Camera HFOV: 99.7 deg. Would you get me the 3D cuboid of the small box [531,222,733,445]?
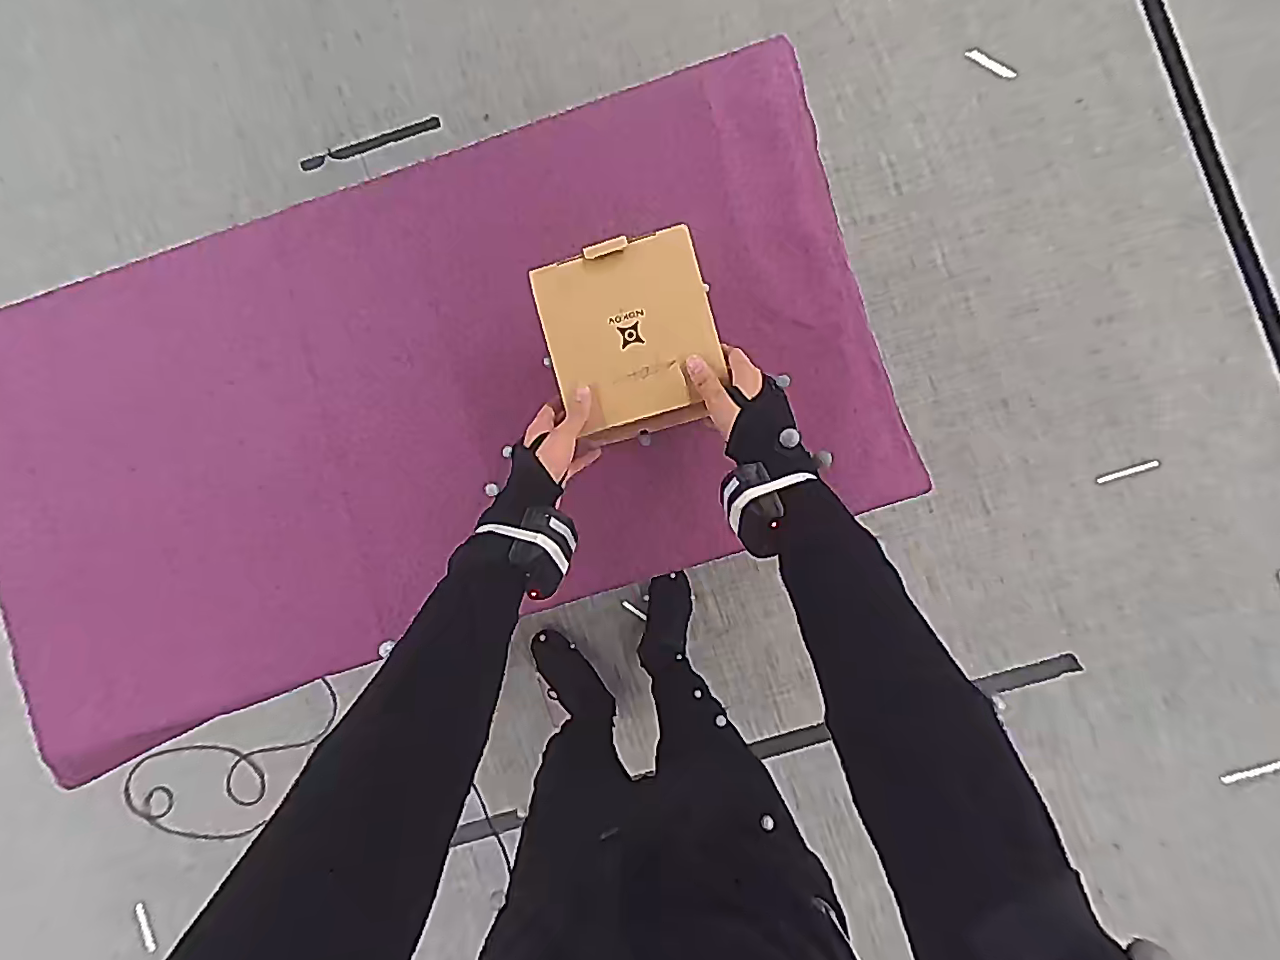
[{"bbox_3d":[-0.005,-0.146,0.602,0.168,0.176,0.179,-15,89,4],"label":"small box"}]
